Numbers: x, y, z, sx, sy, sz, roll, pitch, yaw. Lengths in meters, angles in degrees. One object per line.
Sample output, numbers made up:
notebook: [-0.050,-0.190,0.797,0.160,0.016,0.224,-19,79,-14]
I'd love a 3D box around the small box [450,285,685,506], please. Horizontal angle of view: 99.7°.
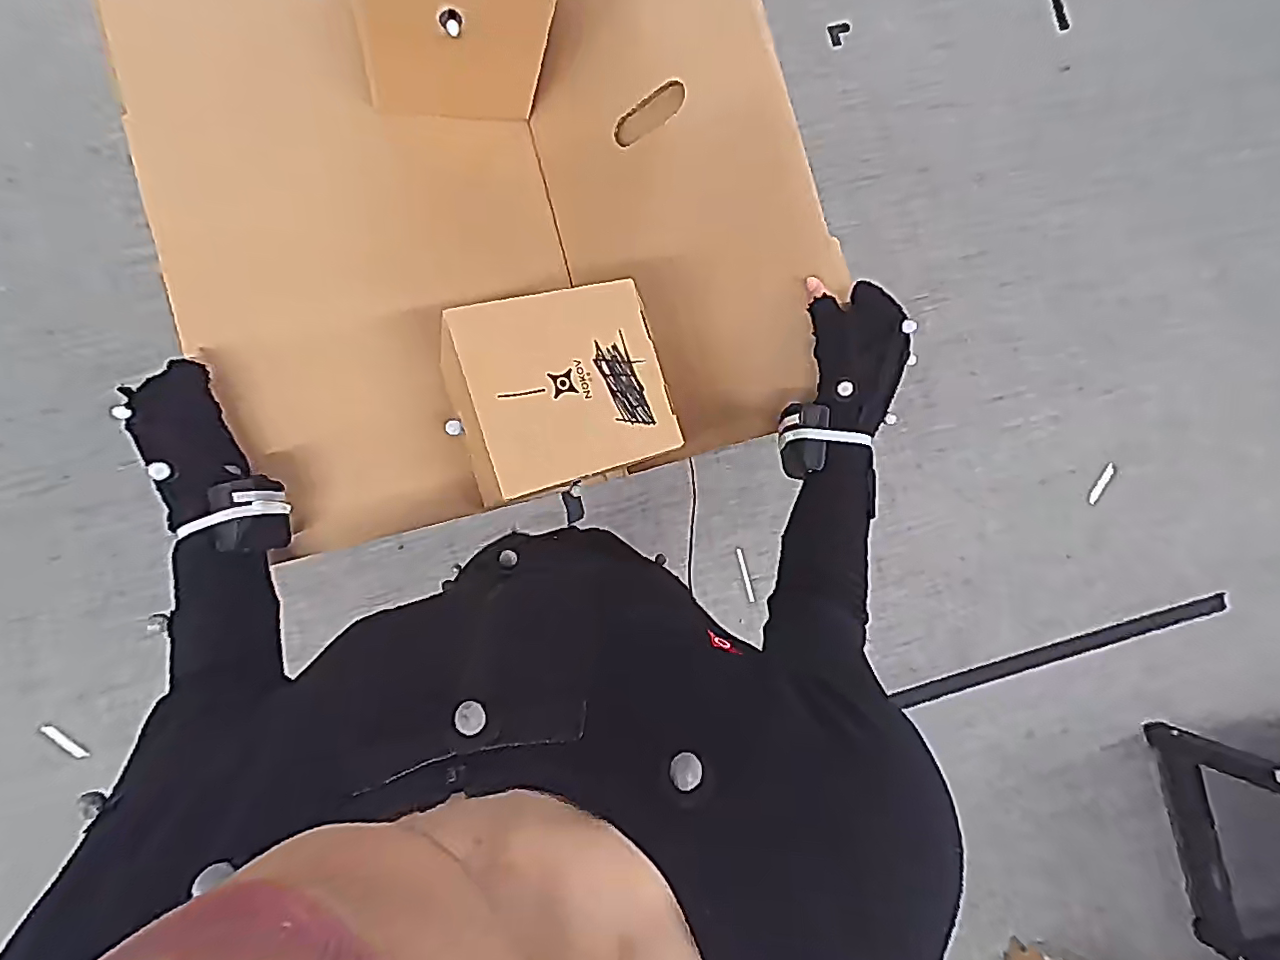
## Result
small box: [-0.083,-0.077,0.553,0.179,0.176,0.168,-18,91,-21]

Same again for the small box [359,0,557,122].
small box: [-0.197,-0.508,0.559,0.179,0.176,0.168,-11,88,-23]
